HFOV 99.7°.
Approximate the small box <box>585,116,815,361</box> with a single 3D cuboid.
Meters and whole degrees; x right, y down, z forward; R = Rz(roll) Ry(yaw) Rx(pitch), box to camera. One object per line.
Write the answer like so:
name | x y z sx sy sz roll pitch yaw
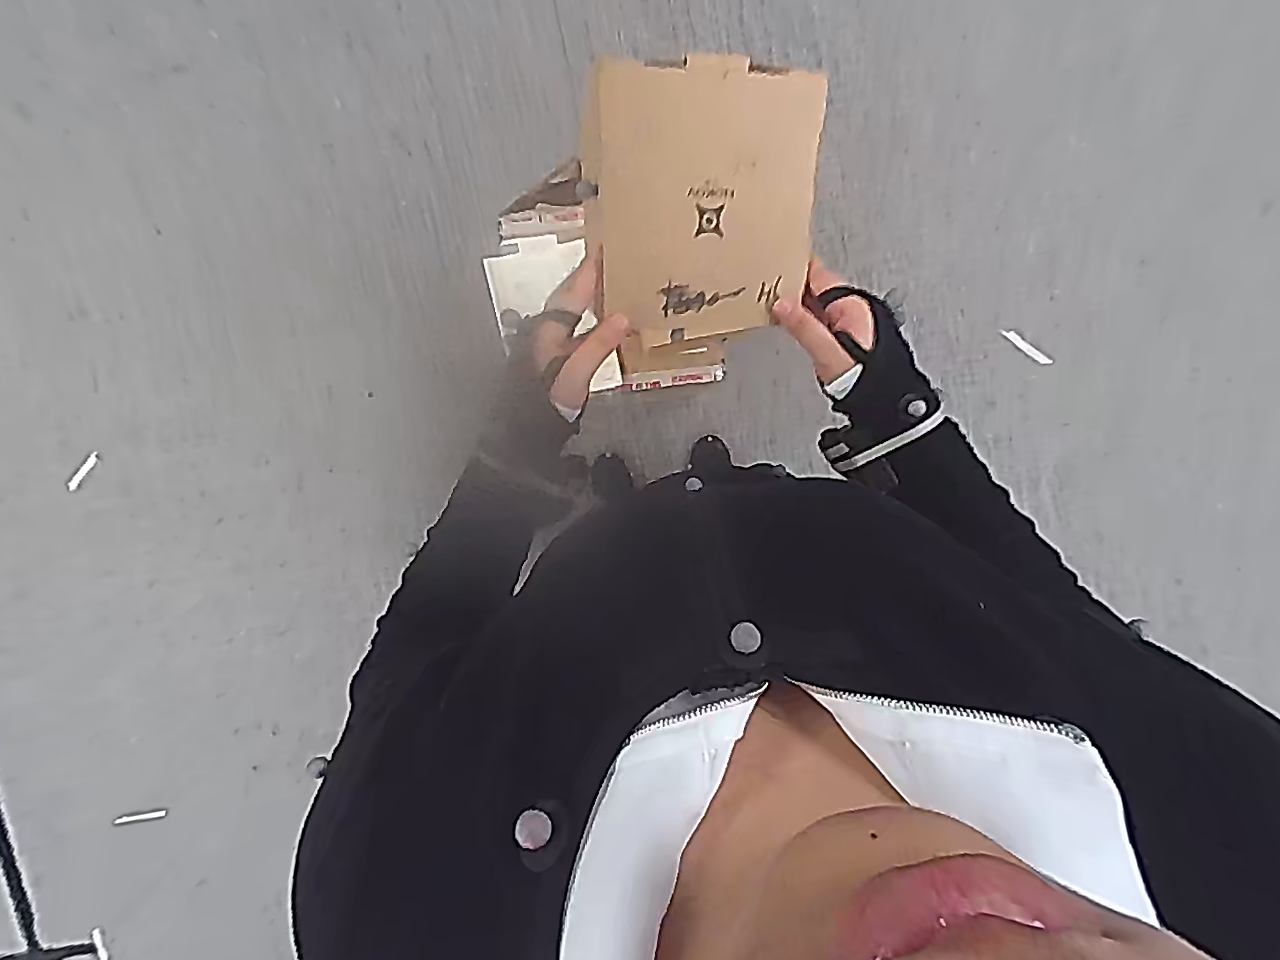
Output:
small box | 0.039 -0.212 0.502 0.168 0.176 0.179 -3 113 -10
